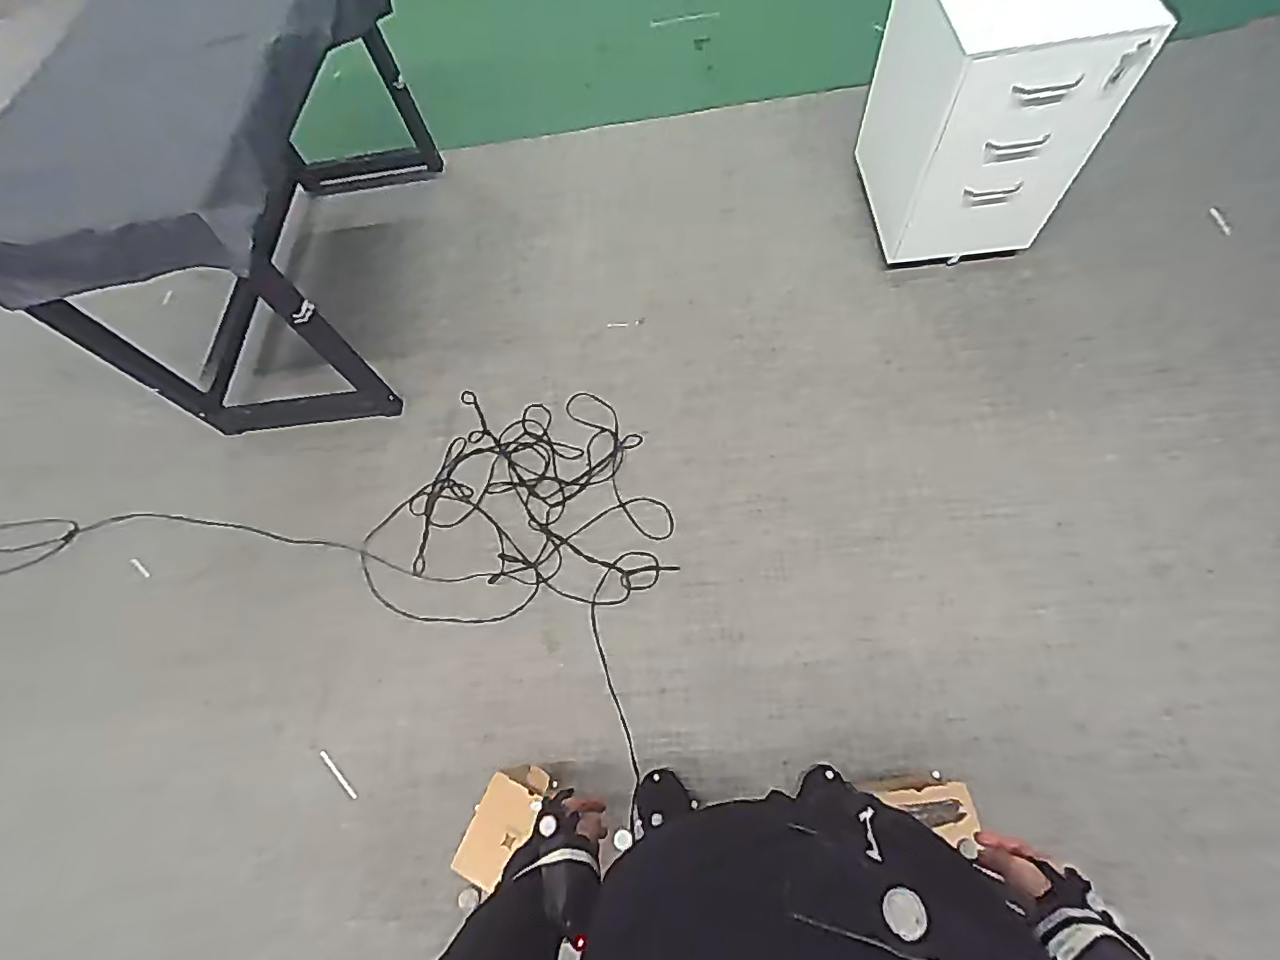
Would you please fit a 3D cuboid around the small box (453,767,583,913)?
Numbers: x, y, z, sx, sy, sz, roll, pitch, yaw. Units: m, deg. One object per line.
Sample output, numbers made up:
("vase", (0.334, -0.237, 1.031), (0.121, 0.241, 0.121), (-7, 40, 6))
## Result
("small box", (-0.228, 0.694, 1.067), (0.168, 0.176, 0.179), (19, 68, 16))
